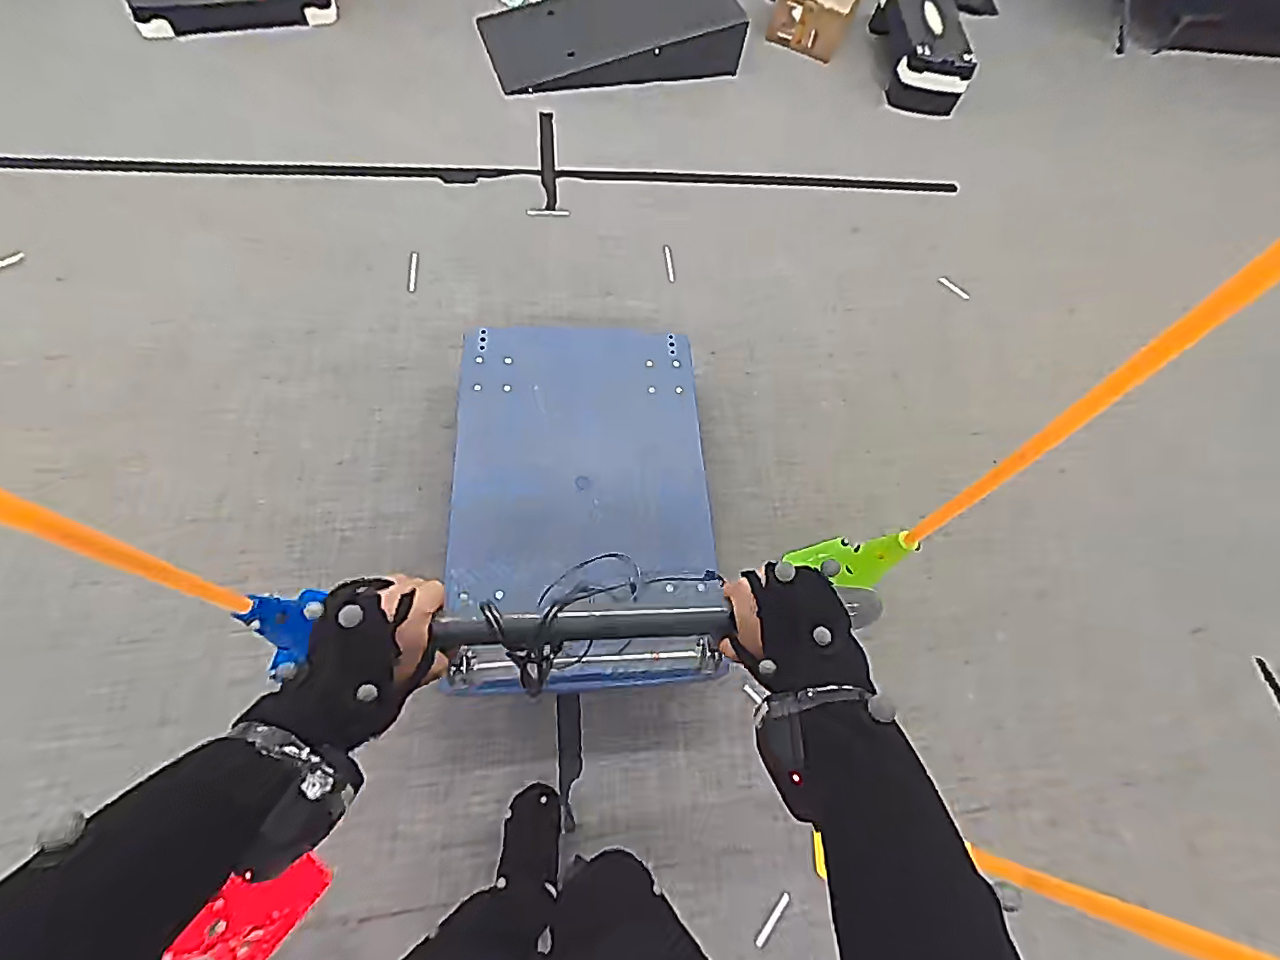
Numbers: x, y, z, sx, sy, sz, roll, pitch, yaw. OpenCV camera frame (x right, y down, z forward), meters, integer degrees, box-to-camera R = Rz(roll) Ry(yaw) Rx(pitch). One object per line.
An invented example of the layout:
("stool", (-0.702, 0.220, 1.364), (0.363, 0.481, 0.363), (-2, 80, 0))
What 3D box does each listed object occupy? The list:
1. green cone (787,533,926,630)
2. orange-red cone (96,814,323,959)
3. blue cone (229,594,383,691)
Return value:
("green cone", (0.510, 0.189, 1.211), (0.200, 0.368, 0.202), (-15, 69, -14))
("orange-red cone", (-0.686, 0.677, 0.825), (0.198, 0.360, 0.199), (39, 65, 10))
("blue cone", (-0.654, 0.284, 1.028), (0.193, 0.380, 0.192), (11, 65, -2))
